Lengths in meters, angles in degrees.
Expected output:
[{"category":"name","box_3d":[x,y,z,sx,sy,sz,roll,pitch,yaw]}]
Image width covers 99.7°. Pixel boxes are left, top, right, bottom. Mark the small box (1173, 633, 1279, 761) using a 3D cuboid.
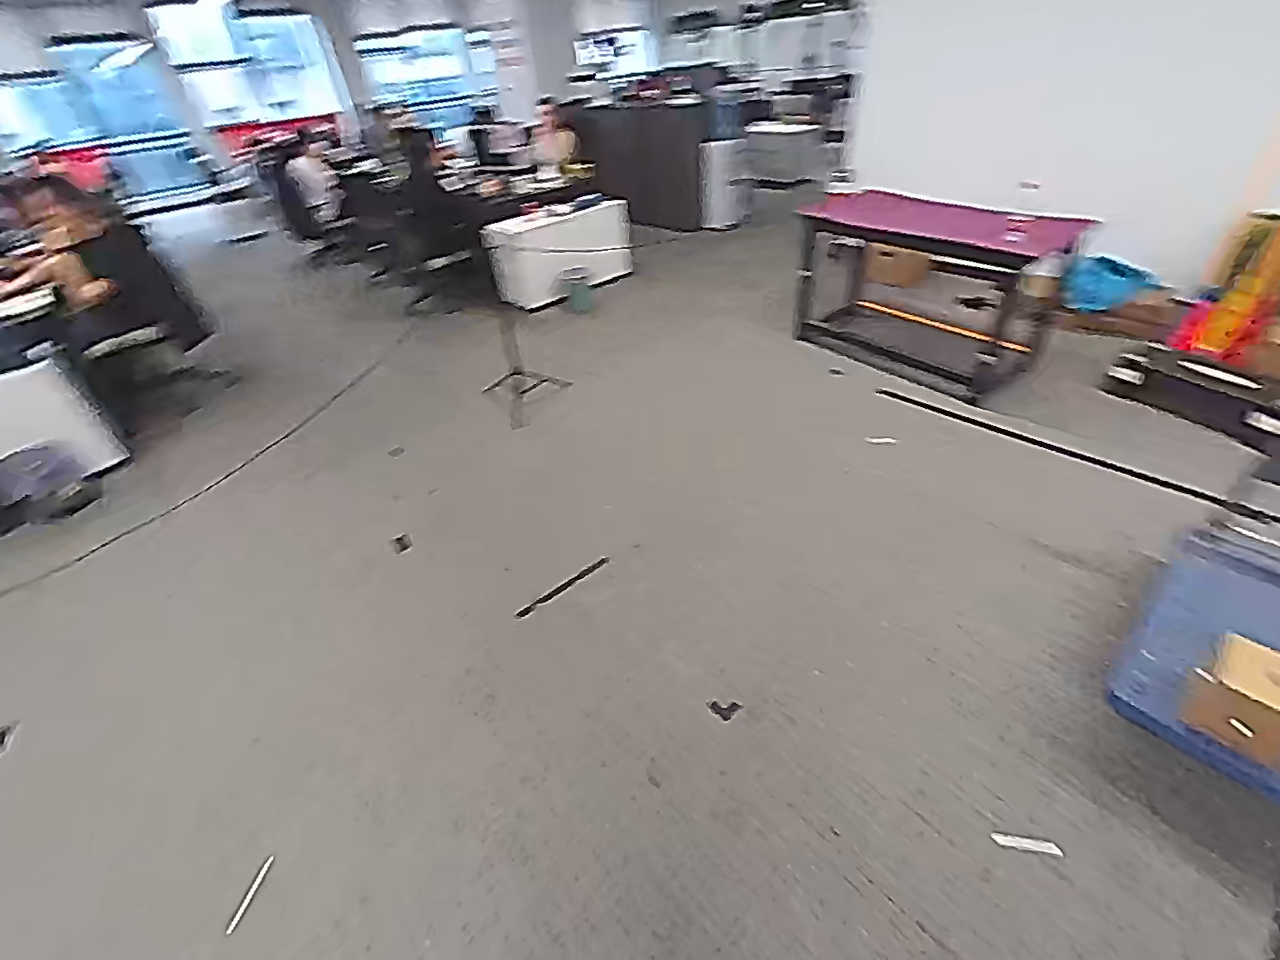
[{"category":"small box","box_3d":[1.369,0.494,1.230,0.179,0.176,0.168,-32,46,-31]}]
